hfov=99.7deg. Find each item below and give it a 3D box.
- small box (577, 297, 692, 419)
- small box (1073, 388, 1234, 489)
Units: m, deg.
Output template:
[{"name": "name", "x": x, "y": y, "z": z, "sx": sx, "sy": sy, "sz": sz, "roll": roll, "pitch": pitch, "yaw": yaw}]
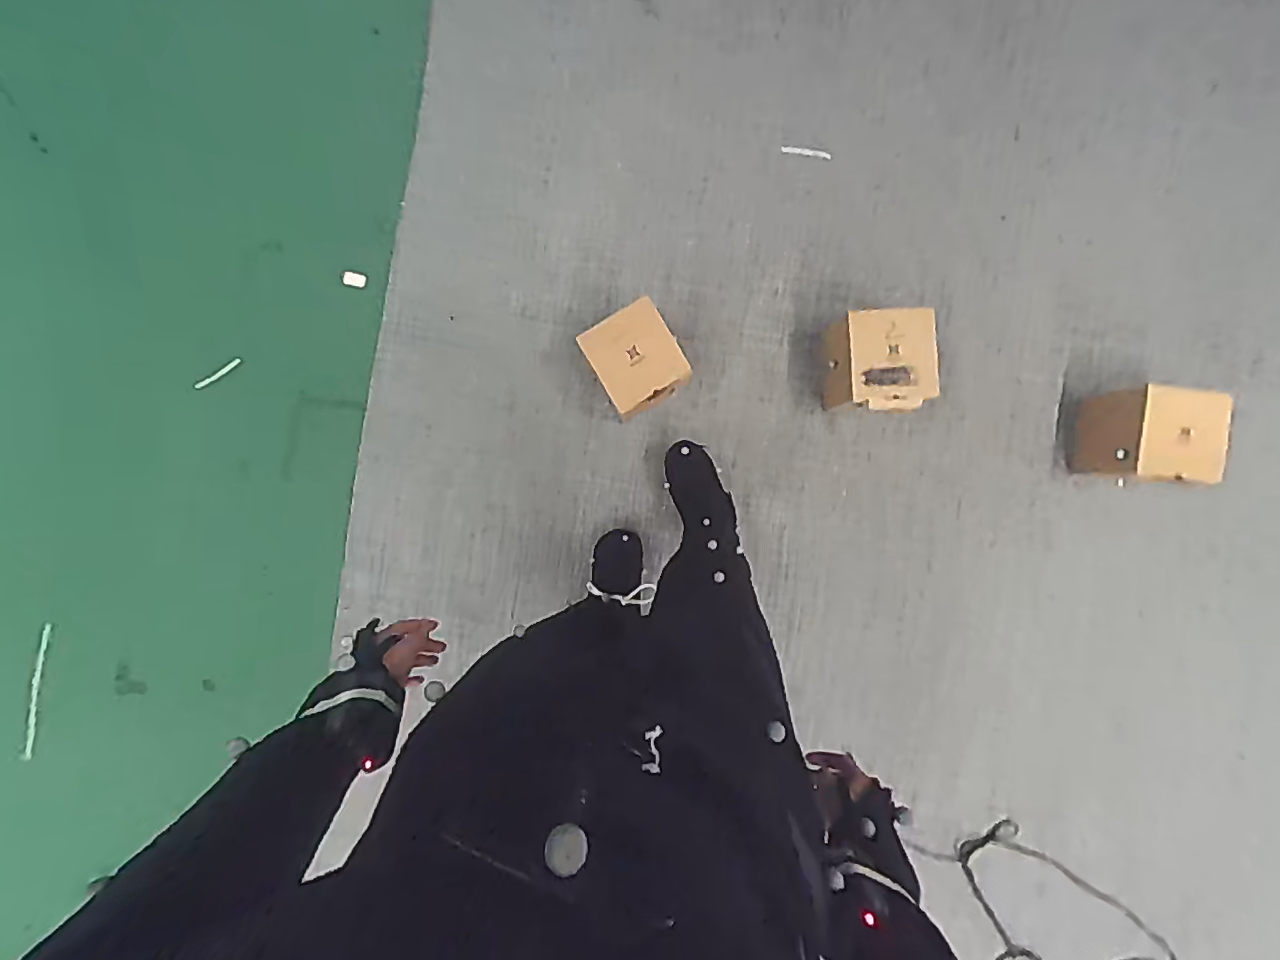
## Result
[{"name": "small box", "x": -0.009, "y": -0.238, "z": 1.113, "sx": 0.168, "sy": 0.176, "sz": 0.179, "roll": -31, "pitch": 89, "yaw": -1}, {"name": "small box", "x": 1.032, "y": -0.079, "z": 1.102, "sx": 0.168, "sy": 0.176, "sz": 0.179, "roll": 7, "pitch": 91, "yaw": 0}]
